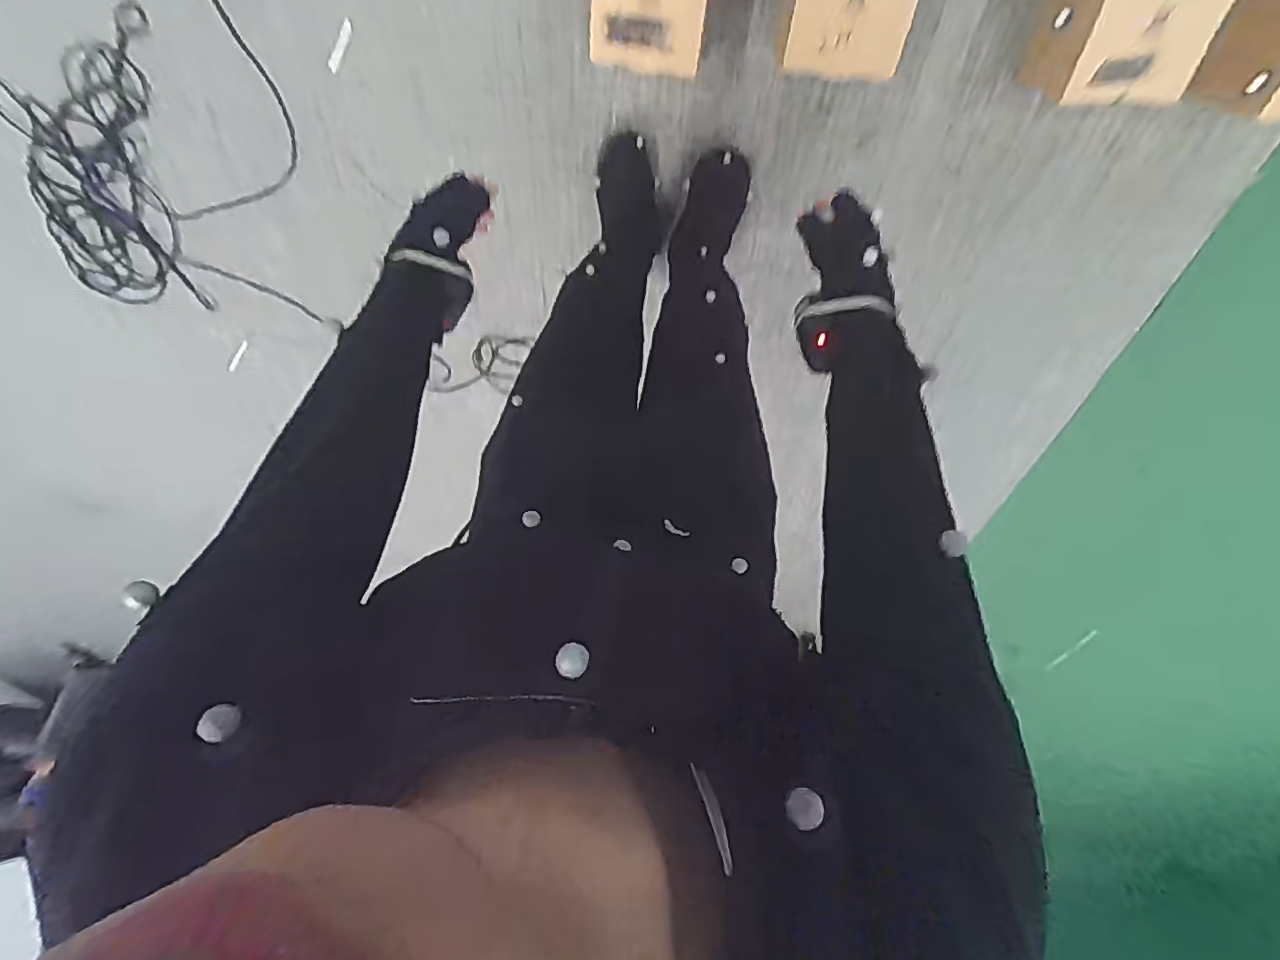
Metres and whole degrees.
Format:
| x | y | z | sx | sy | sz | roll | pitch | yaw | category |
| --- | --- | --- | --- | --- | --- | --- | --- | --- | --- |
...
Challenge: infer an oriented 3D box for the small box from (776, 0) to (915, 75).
| x | y | z | sx | sy | sz | roll | pitch | yaw | category |
| --- | --- | --- | --- | --- | --- | --- | --- | --- | --- |
| 0.302 | -0.724 | 0.793 | 0.168 | 0.176 | 0.179 | 7 | 136 | 1 | small box |

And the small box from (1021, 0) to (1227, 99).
| x | y | z | sx | sy | sz | roll | pitch | yaw | category |
| --- | --- | --- | --- | --- | --- | --- | --- | --- | --- |
| 0.702 | -0.681 | 0.792 | 0.168 | 0.176 | 0.179 | 2 | 134 | 4 | small box |

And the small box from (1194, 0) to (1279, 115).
| x | y | z | sx | sy | sz | roll | pitch | yaw | category |
| --- | --- | --- | --- | --- | --- | --- | --- | --- | --- |
| 0.993 | -0.650 | 0.789 | 0.168 | 0.176 | 0.179 | 6 | 136 | 2 | small box |
